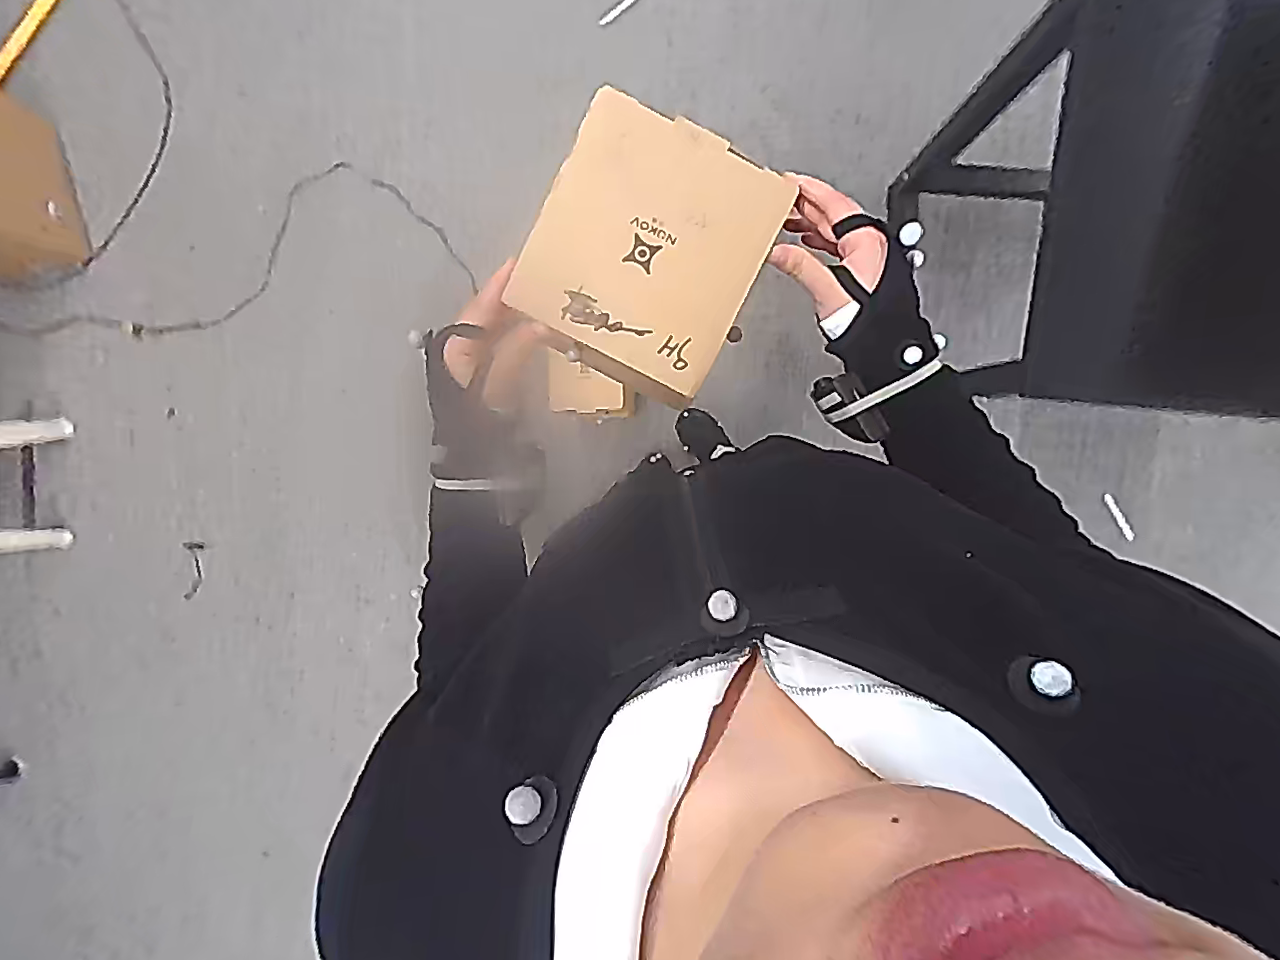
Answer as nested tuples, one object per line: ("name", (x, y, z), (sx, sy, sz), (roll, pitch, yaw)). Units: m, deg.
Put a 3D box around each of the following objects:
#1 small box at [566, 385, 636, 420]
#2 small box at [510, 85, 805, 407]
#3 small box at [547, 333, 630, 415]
("small box", (-0.100, -0.250, 1.414), (0.168, 0.176, 0.179), (2, 96, 4))
("small box", (0.013, -0.181, 0.480), (0.168, 0.176, 0.179), (28, 93, 0))
("small box", (-0.114, -0.243, 1.252), (0.168, 0.176, 0.179), (-2, 93, 3))
